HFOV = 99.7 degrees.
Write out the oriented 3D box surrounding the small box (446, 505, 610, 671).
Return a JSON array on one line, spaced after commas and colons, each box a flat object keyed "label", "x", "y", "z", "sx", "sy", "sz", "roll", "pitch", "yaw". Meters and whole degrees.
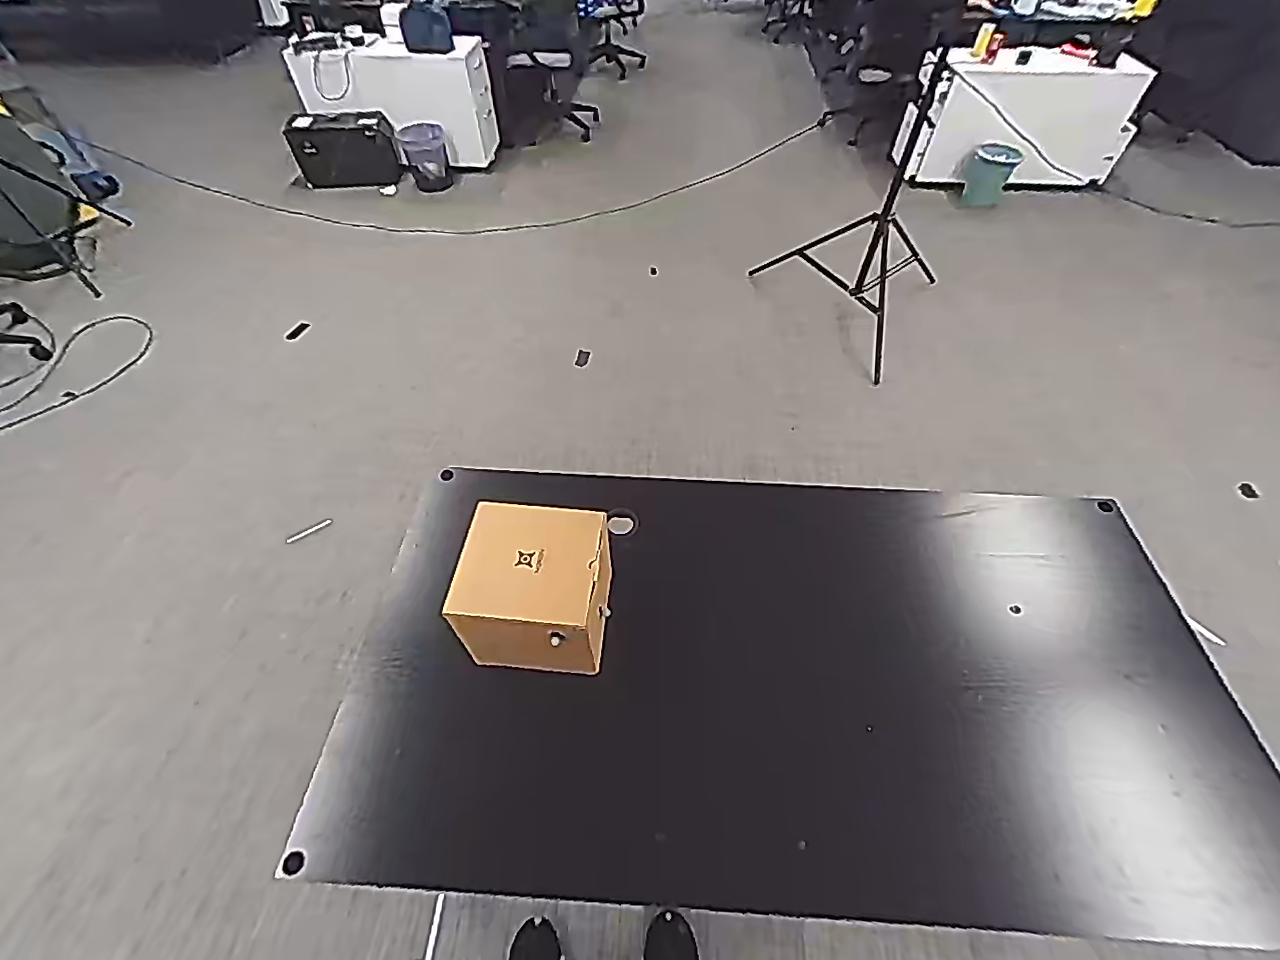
[{"label": "small box", "x": -0.140, "y": 0.154, "z": 0.752, "sx": 0.179, "sy": 0.176, "sz": 0.168, "roll": 4, "pitch": 52, "yaw": 2}]
